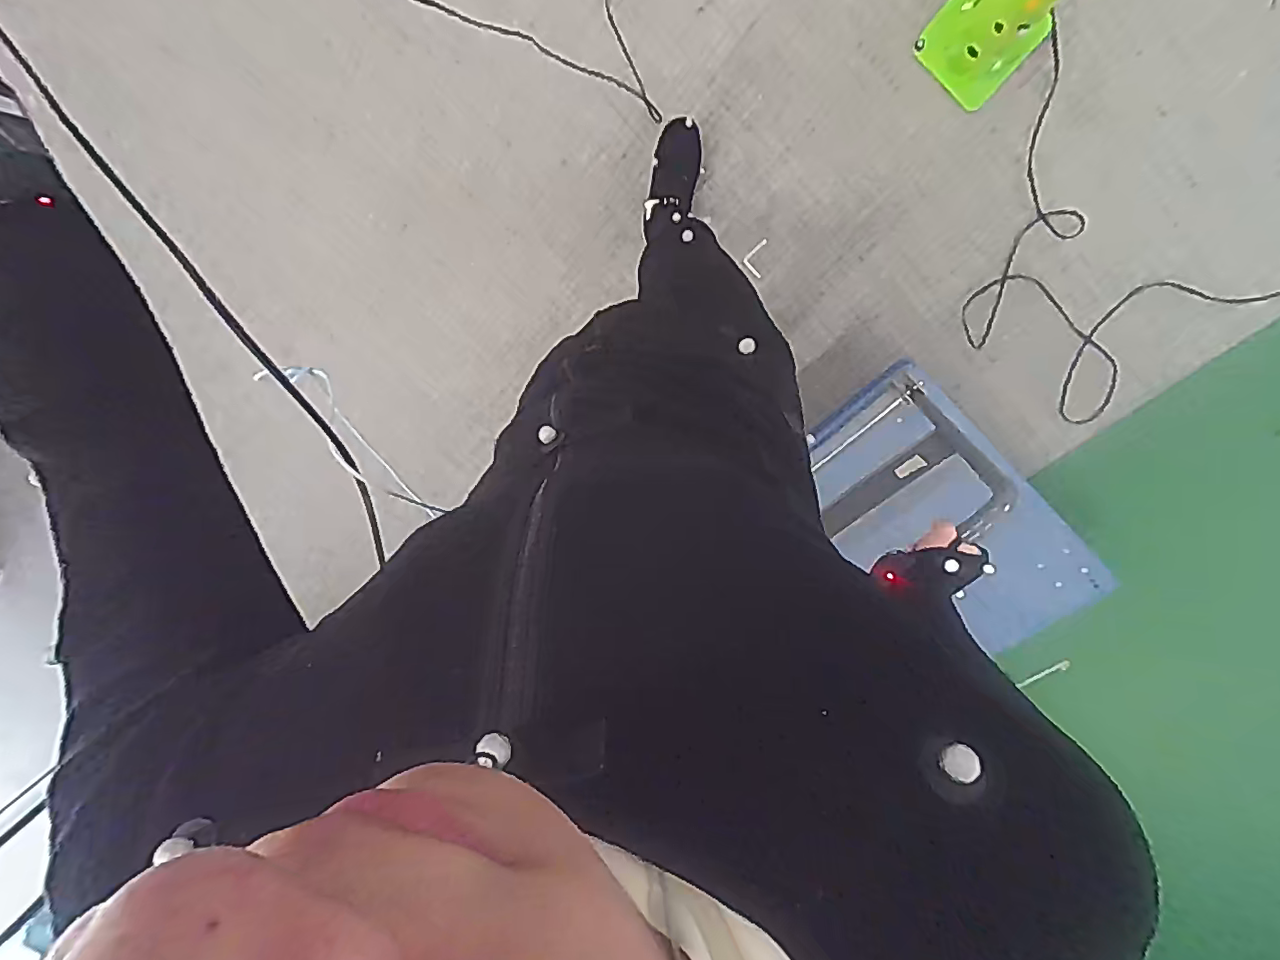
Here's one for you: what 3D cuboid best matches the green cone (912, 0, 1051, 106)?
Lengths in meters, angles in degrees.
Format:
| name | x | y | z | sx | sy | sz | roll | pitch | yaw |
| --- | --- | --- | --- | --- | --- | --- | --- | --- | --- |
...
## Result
| name | x | y | z | sx | sy | sz | roll | pitch | yaw |
| --- | --- | --- | --- | --- | --- | --- | --- | --- | --- |
| green cone | 0.674 | -0.853 | 0.962 | 0.200 | 0.368 | 0.202 | 37 | 115 | -9 |
